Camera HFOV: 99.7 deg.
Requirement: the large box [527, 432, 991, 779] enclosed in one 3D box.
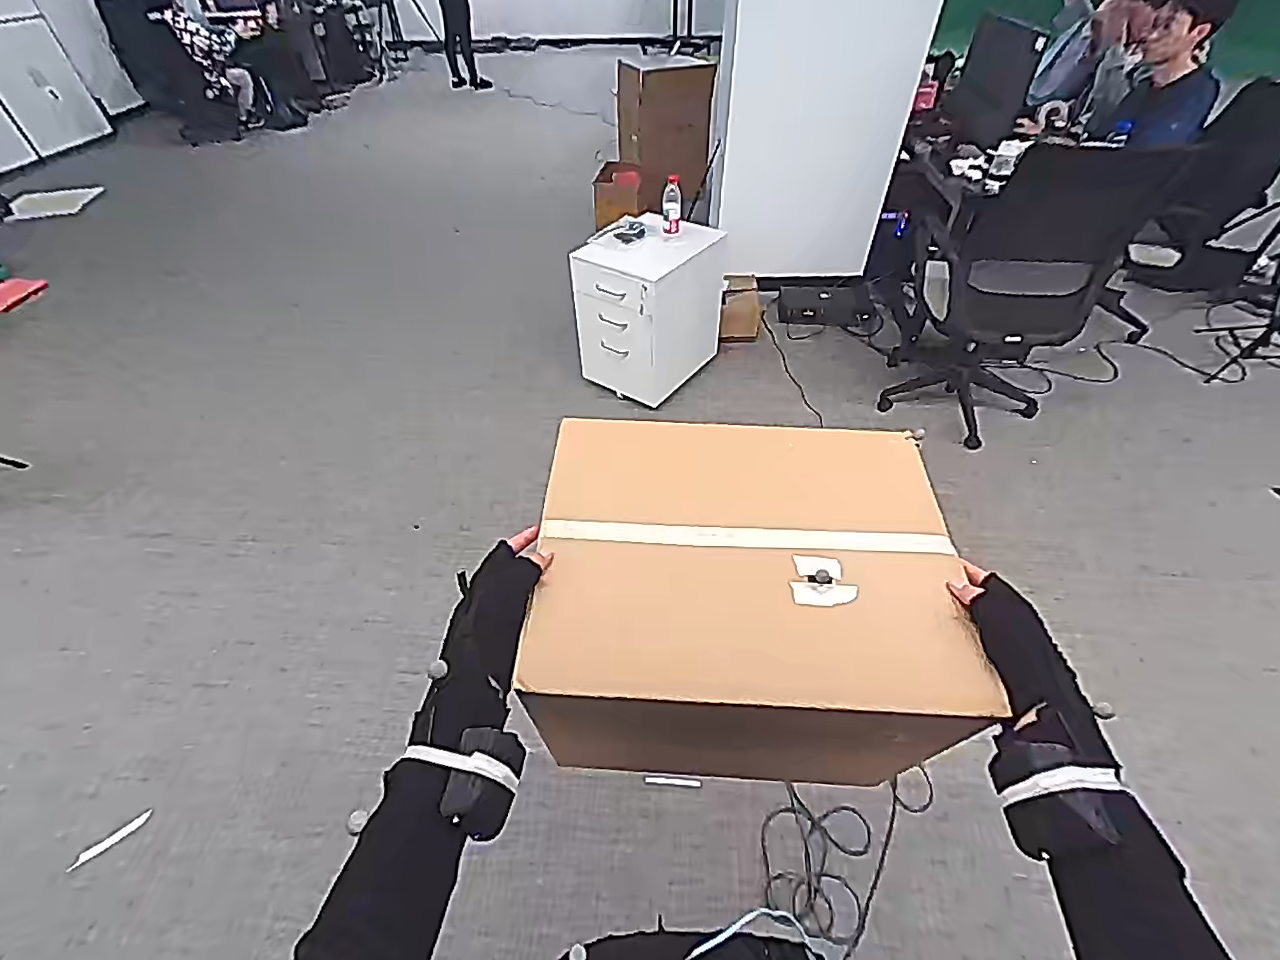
[{"bbox_3d":[0.102,0.161,0.664,0.408,0.320,0.320,3,52,1],"label":"large box"}]
